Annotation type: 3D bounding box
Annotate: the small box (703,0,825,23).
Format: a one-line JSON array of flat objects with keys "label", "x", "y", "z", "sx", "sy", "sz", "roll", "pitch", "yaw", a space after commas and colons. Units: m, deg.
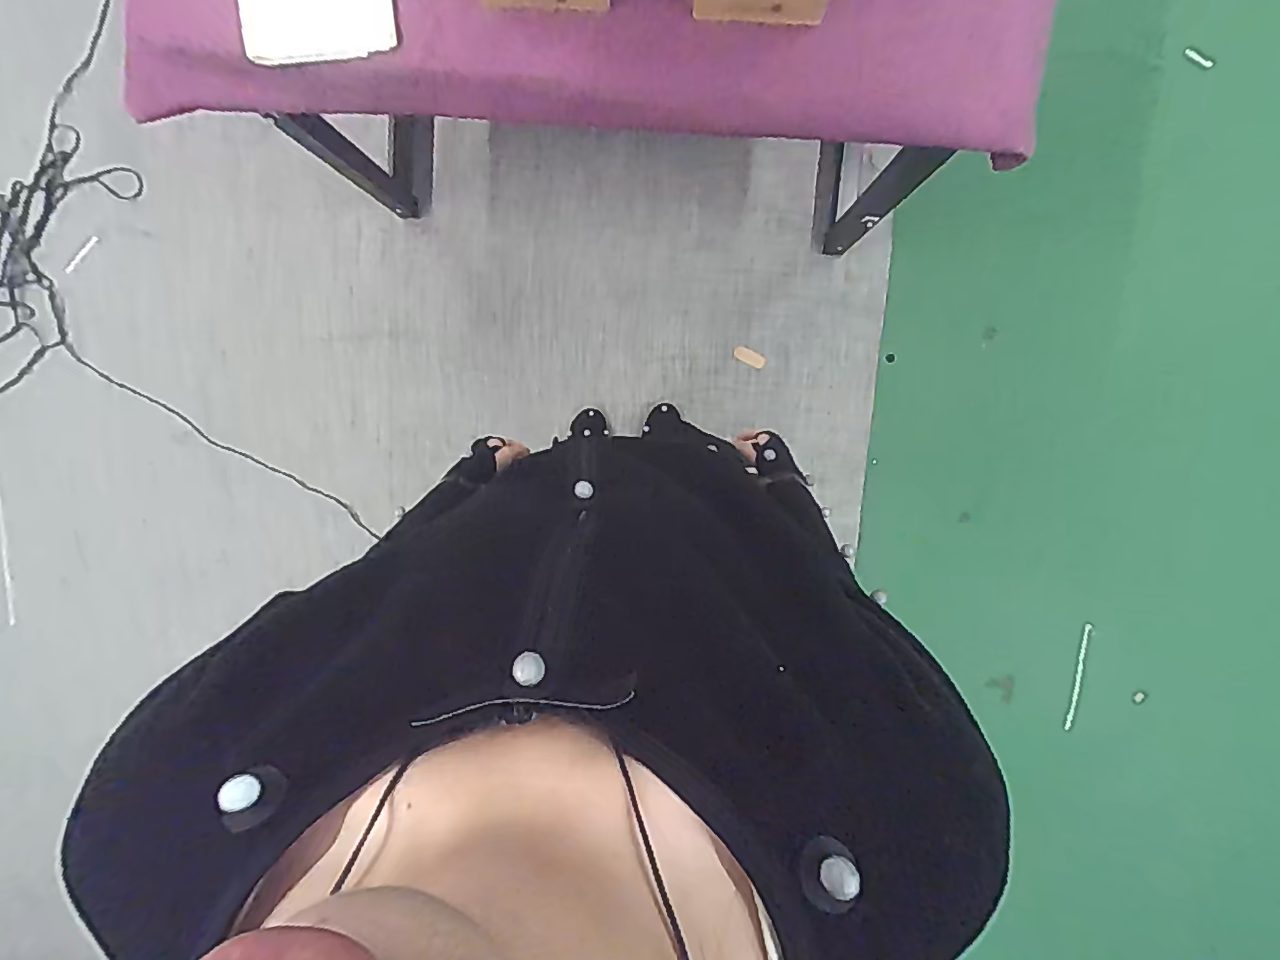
[{"label": "small box", "x": 0.155, "y": -0.668, "z": 0.609, "sx": 0.168, "sy": 0.176, "sz": 0.179, "roll": 6, "pitch": 96, "yaw": 1}]
